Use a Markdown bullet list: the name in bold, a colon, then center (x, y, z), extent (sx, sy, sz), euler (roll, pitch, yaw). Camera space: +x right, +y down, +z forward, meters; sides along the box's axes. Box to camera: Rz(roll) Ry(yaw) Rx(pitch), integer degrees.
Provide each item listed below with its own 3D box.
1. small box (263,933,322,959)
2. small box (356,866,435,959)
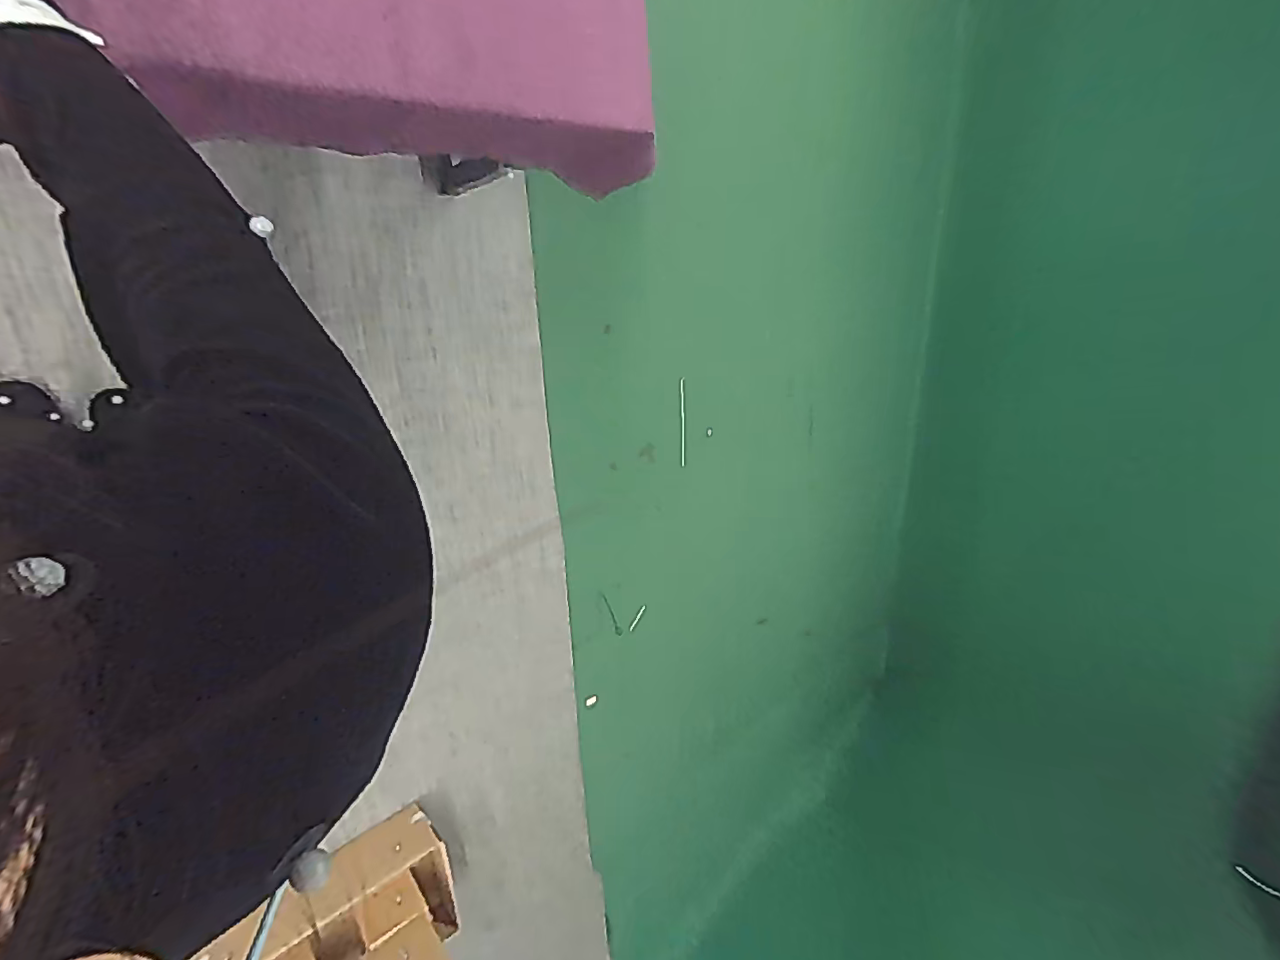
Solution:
- **small box**: center (-0.935, 1.378, 1.448), extent (0.168, 0.176, 0.179), euler (-19, 114, -40)
- **small box**: center (-0.736, 1.312, 1.624), extent (0.168, 0.176, 0.179), euler (-14, 111, -40)
